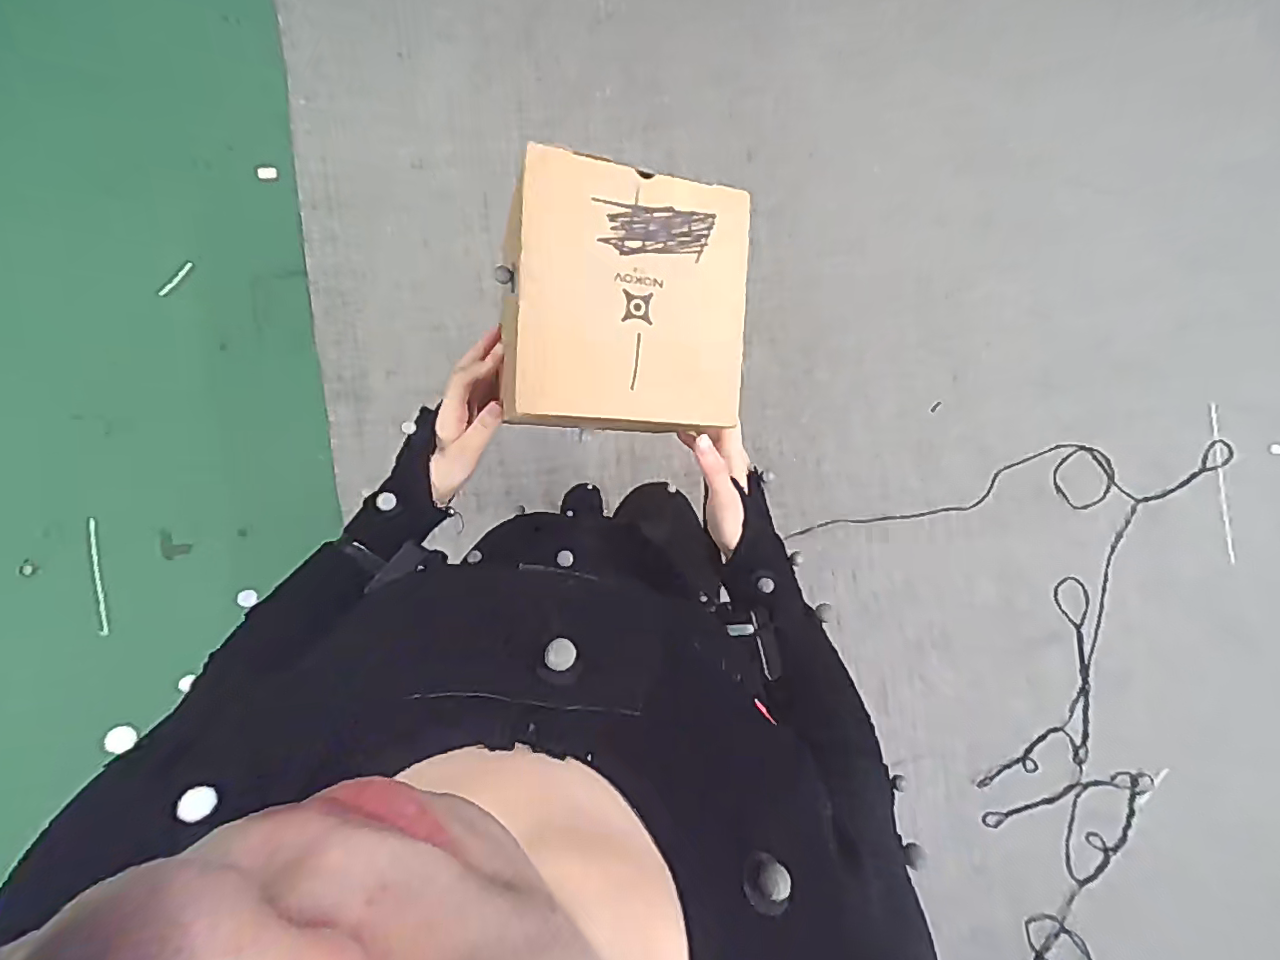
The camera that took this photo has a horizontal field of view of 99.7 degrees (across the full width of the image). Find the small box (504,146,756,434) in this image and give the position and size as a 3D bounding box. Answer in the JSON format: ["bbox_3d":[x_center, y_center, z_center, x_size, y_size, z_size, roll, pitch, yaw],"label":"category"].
[{"bbox_3d":[-0.021,-0.132,0.456,0.168,0.176,0.179,2,93,-20],"label":"small box"}]
